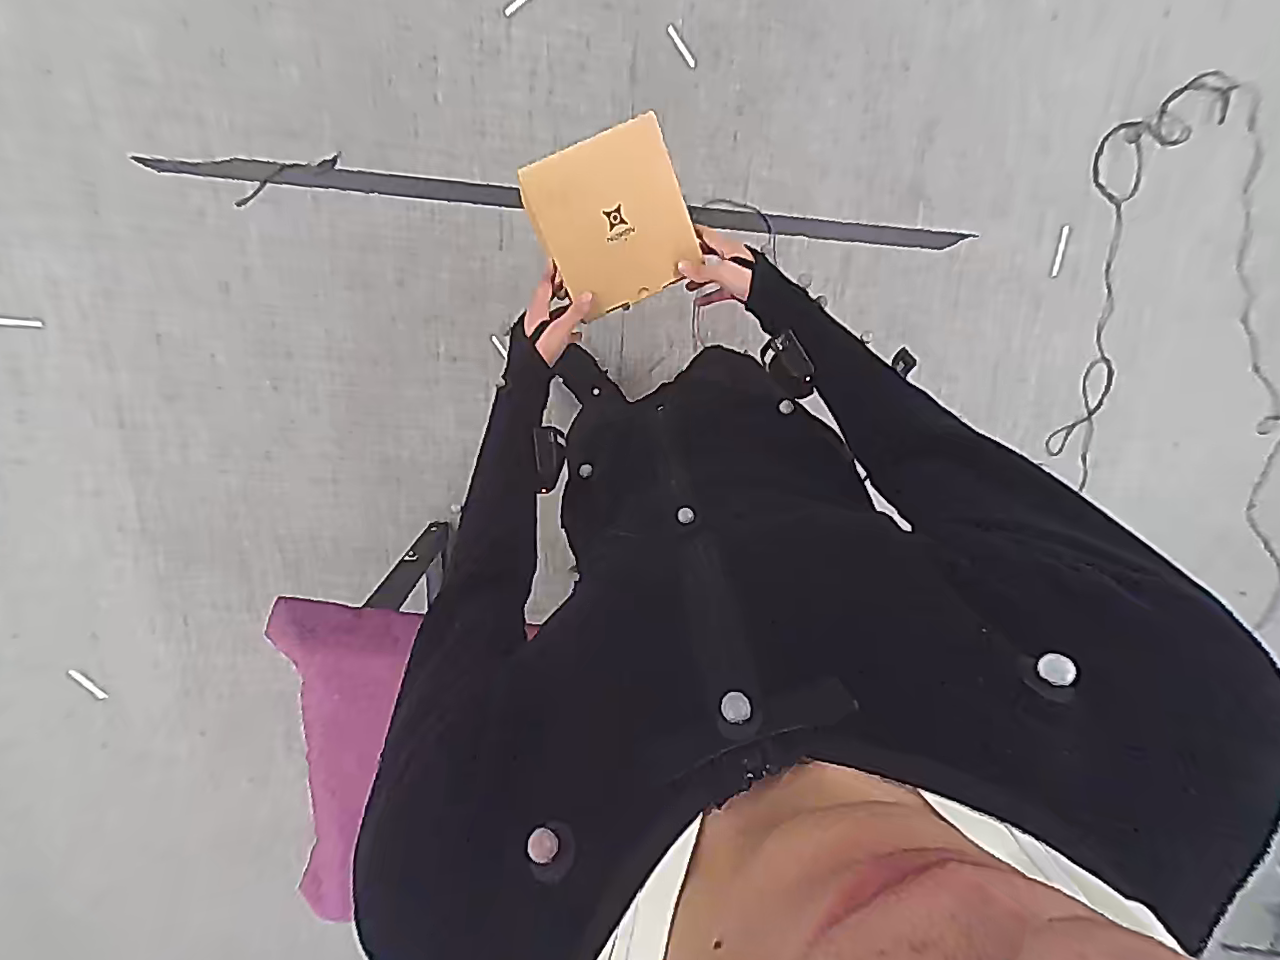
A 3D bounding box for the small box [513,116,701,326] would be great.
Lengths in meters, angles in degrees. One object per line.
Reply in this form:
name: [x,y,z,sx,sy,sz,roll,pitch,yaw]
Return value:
small box: [-0.046,-0.309,0.682,0.168,0.176,0.179,-25,111,-1]
